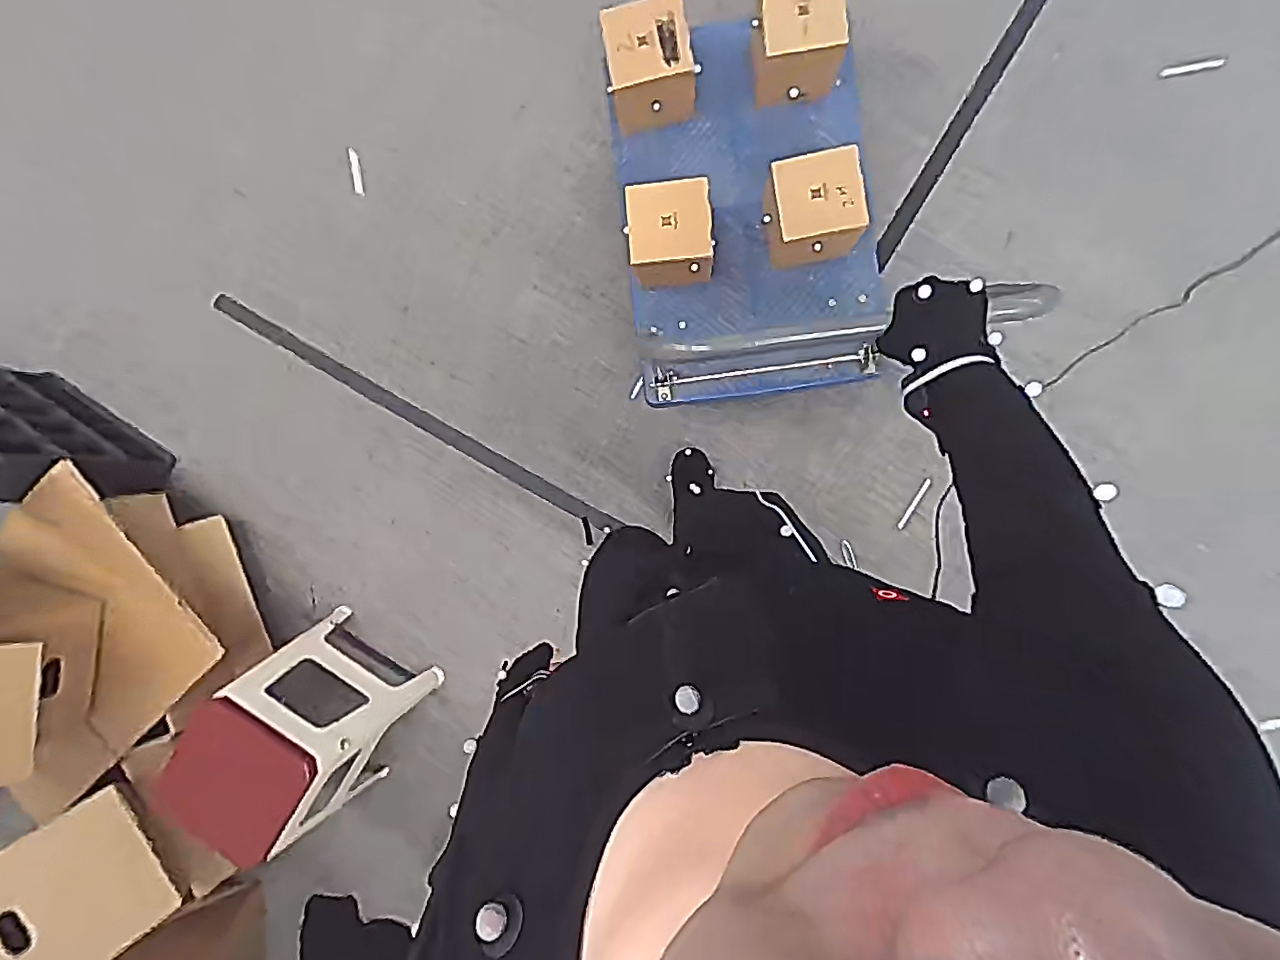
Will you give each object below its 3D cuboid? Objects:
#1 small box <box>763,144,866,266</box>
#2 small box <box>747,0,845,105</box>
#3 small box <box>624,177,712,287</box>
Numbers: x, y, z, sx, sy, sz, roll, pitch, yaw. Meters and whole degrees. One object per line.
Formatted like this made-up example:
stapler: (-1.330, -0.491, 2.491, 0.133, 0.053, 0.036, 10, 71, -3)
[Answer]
small box: (0.369, -0.587, 1.179, 0.179, 0.176, 0.168, -9, 92, 5)
small box: (0.329, -0.959, 1.168, 0.168, 0.176, 0.179, -6, 93, 5)
small box: (0.064, -0.544, 1.209, 0.179, 0.176, 0.168, -5, 92, 4)
